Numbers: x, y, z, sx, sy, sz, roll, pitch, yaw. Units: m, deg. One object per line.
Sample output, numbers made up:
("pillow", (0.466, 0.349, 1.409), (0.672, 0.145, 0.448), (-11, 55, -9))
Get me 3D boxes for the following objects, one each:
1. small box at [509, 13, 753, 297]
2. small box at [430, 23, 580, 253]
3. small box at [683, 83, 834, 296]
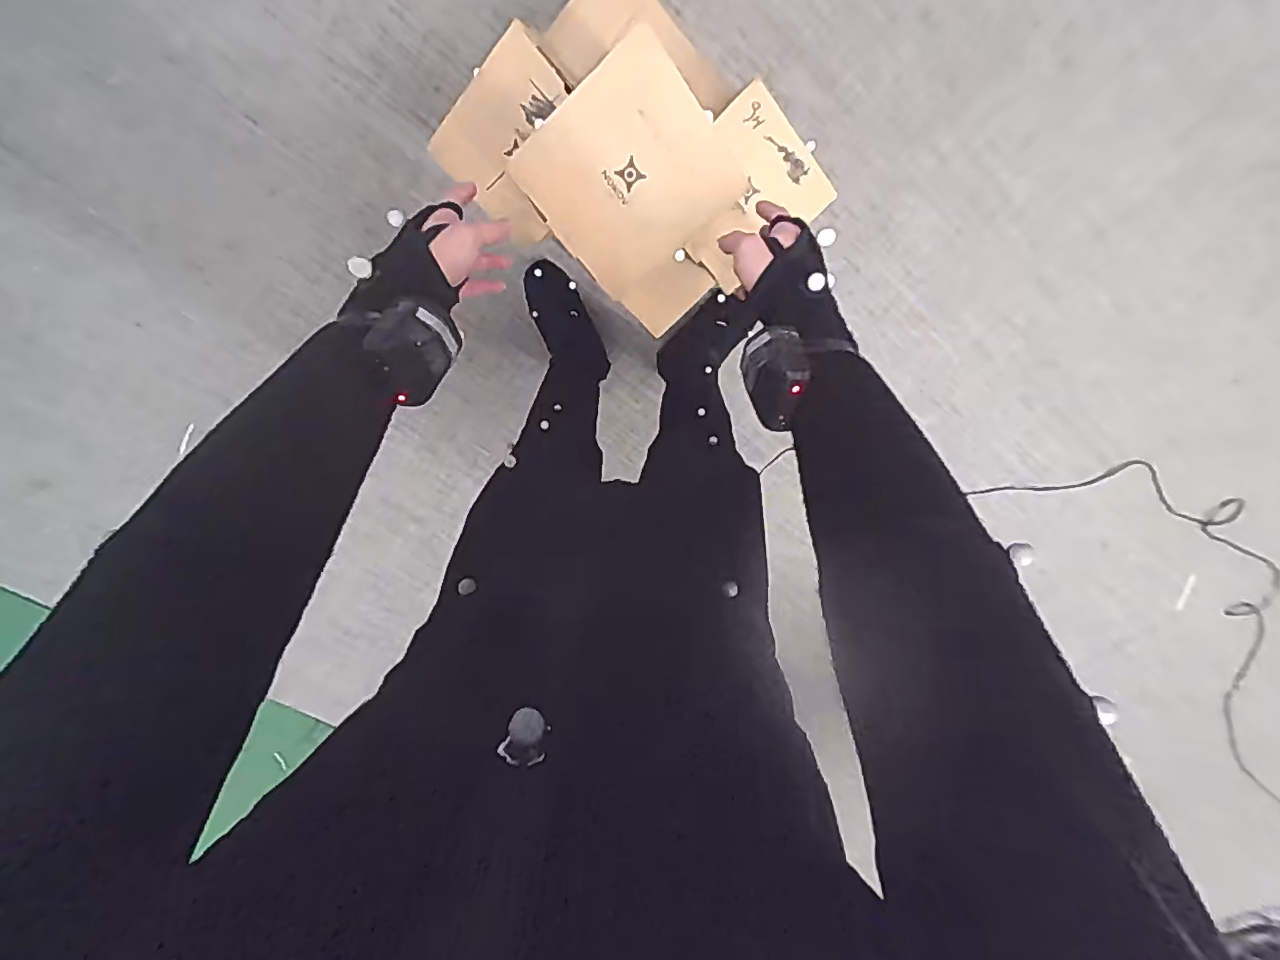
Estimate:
("small box", (-0.007, -0.328, 0.576), (0.179, 0.176, 0.168), (-36, 115, 17))
("small box", (-0.132, -0.433, 0.705), (0.179, 0.176, 0.168), (-37, 113, 22))
("small box", (0.125, -0.383, 0.733), (0.179, 0.176, 0.168), (-39, 112, 19))
